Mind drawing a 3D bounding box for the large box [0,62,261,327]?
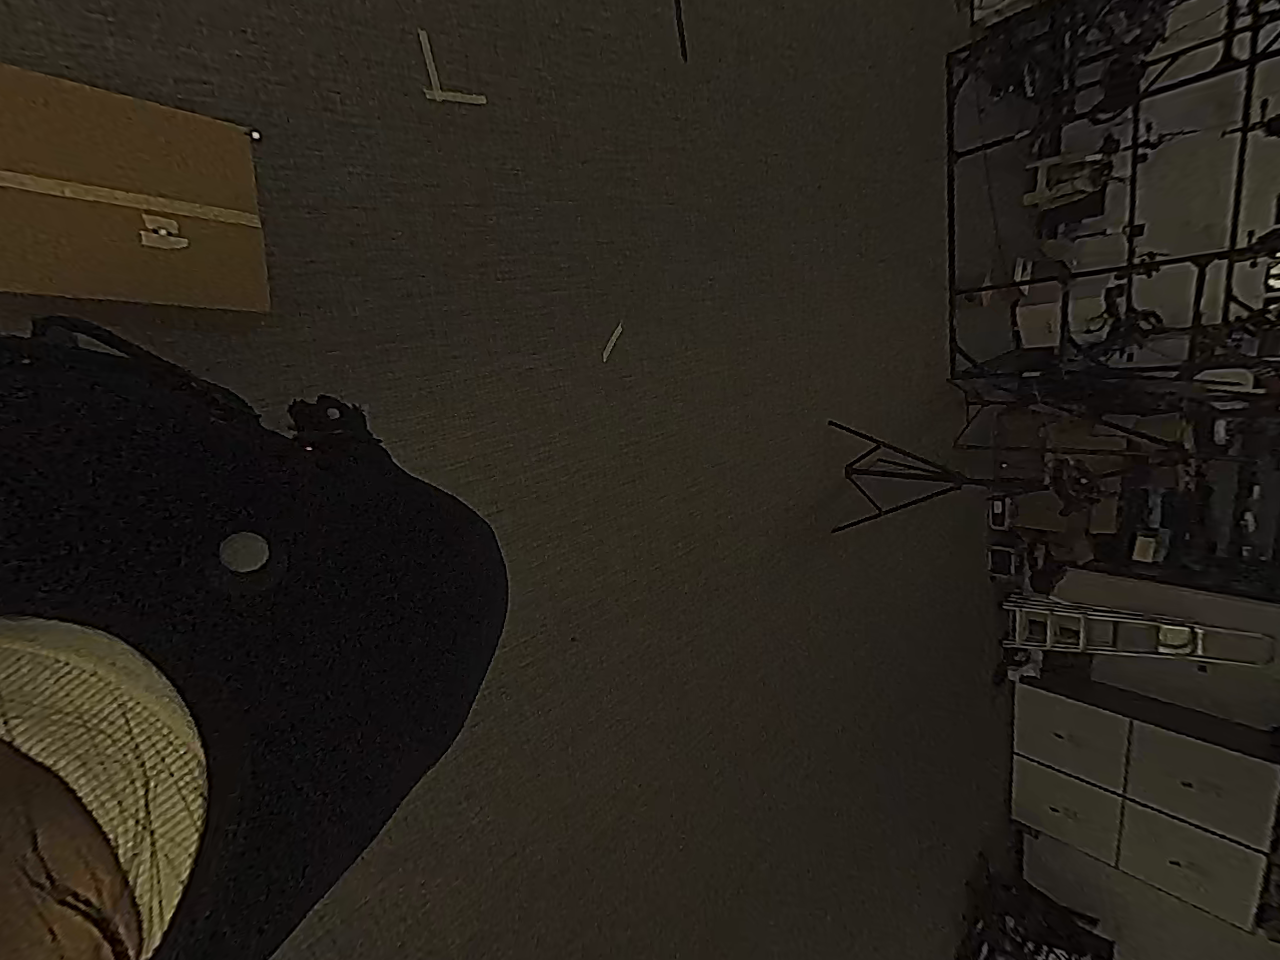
[{"bbox_3d":[-0.937,-0.453,0.935,0.408,0.320,0.320,-8,101,-42],"label":"large box"}]
